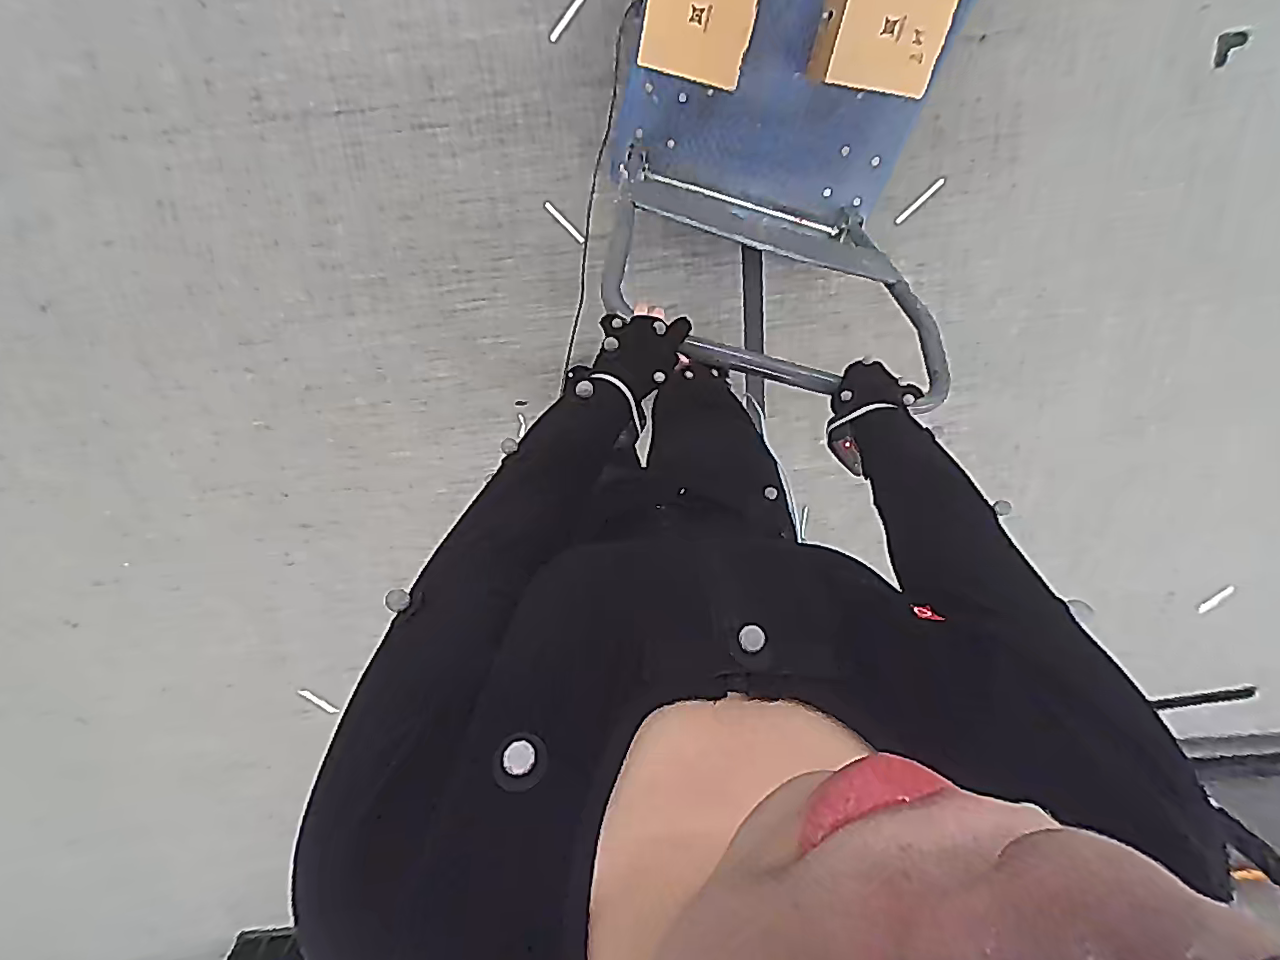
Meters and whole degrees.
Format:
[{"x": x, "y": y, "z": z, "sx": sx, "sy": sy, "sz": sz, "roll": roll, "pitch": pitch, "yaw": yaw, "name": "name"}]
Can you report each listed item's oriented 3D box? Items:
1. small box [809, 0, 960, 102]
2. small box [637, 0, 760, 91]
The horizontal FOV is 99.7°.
[{"x": 0.410, "y": -0.769, "z": 0.930, "sx": 0.179, "sy": 0.176, "sz": 0.168, "roll": 8, "pitch": 129, "yaw": -3, "name": "small box"}, {"x": 0.098, "y": -0.793, "z": 0.930, "sx": 0.179, "sy": 0.176, "sz": 0.168, "roll": 10, "pitch": 129, "yaw": -7, "name": "small box"}]
